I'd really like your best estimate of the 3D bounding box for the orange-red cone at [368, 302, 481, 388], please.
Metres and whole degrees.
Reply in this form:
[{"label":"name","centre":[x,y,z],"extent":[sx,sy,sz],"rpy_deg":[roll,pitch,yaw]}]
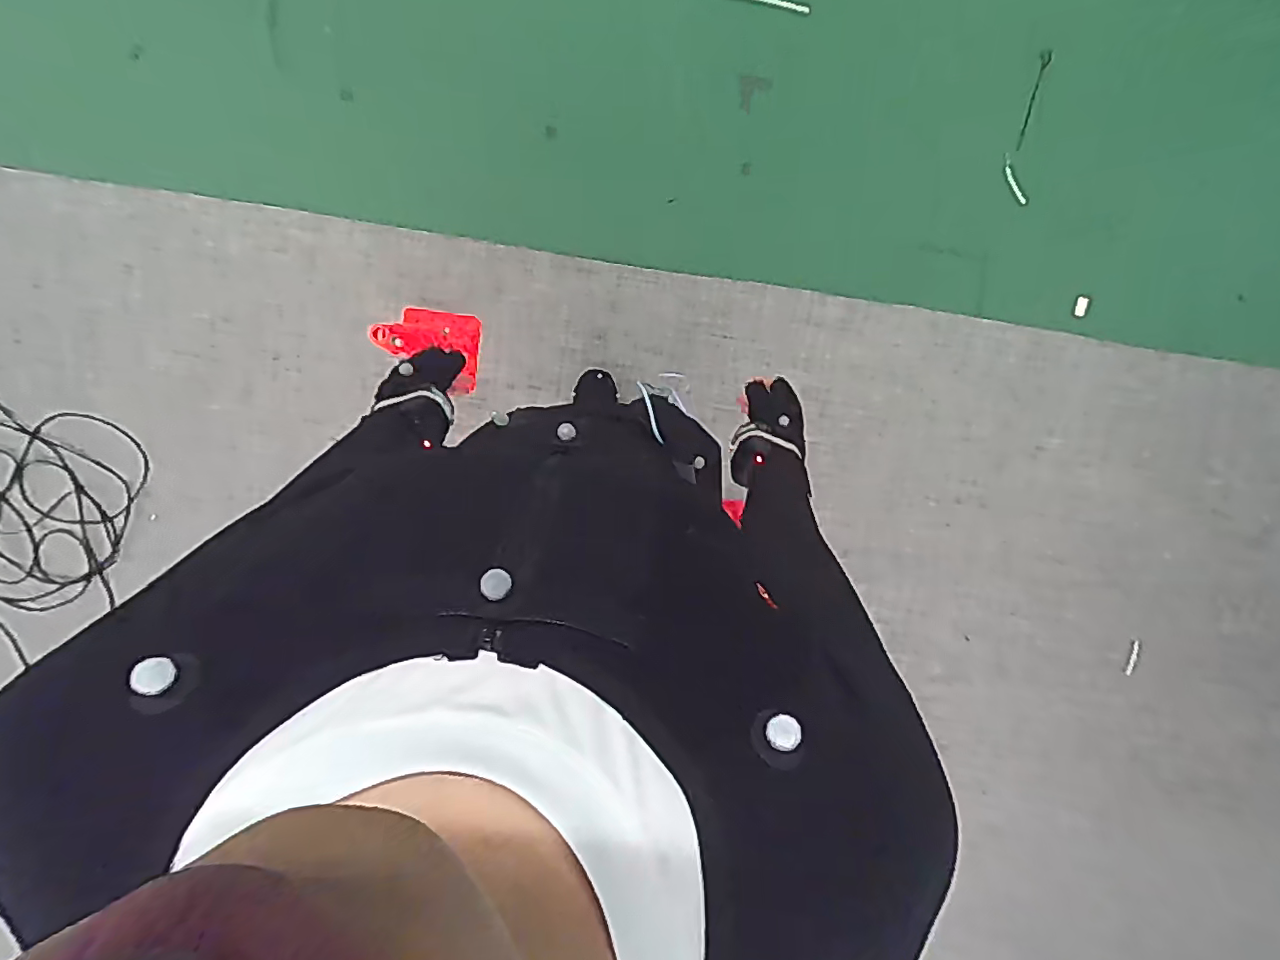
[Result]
[{"label":"orange-red cone","centre":[-0.513,-0.320,1.226],"extent":[0.198,0.360,0.199],"rpy_deg":[9,99,-2]}]
